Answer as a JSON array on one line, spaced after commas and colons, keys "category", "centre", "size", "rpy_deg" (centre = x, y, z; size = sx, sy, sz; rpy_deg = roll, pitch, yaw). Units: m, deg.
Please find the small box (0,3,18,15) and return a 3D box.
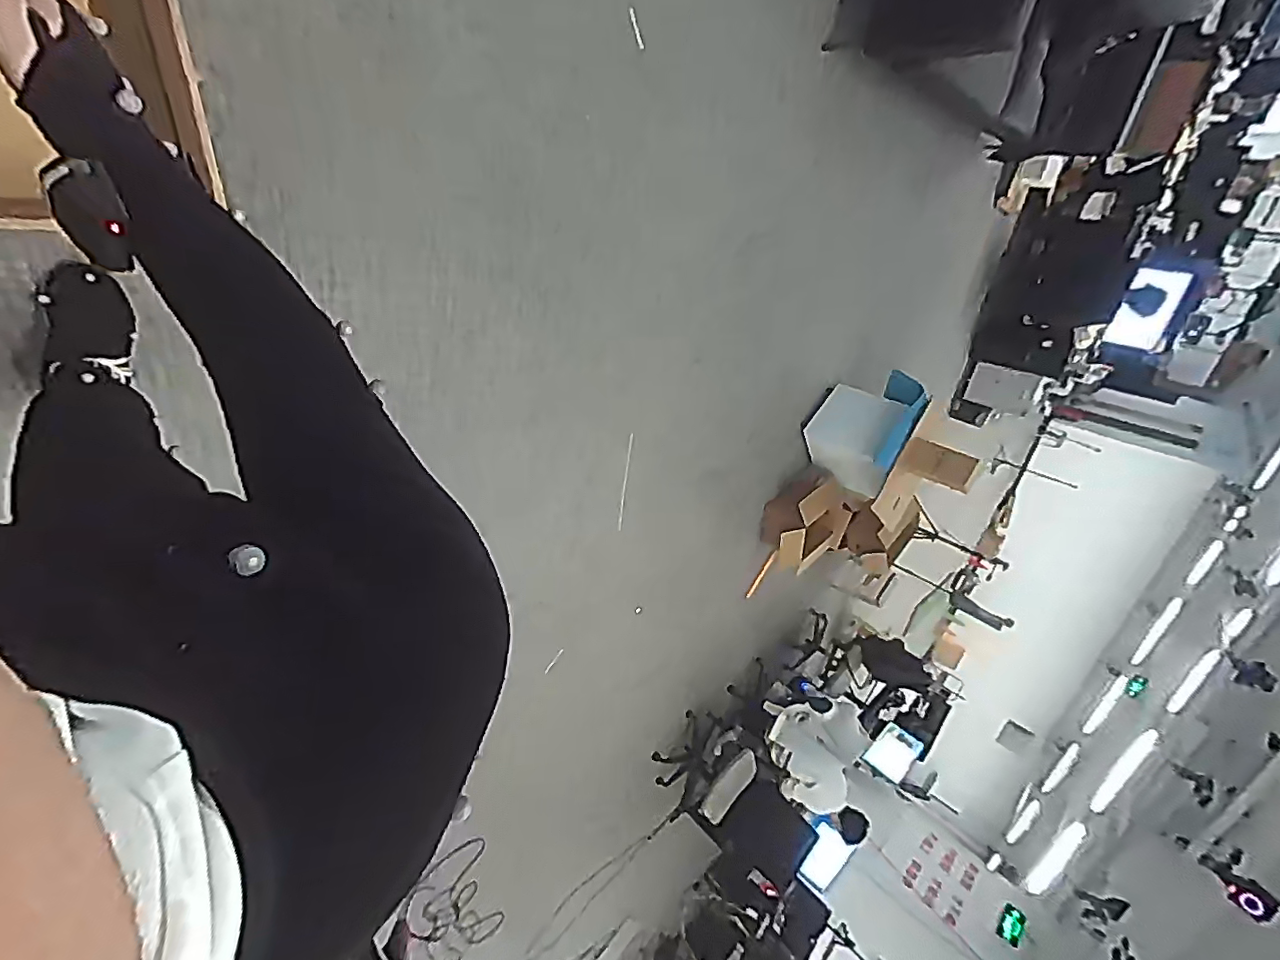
[{"category": "small box", "centre": [-0.706, -0.556, 0.479], "size": [0.168, 0.176, 0.179], "rpy_deg": [-19, 126, -40]}]
